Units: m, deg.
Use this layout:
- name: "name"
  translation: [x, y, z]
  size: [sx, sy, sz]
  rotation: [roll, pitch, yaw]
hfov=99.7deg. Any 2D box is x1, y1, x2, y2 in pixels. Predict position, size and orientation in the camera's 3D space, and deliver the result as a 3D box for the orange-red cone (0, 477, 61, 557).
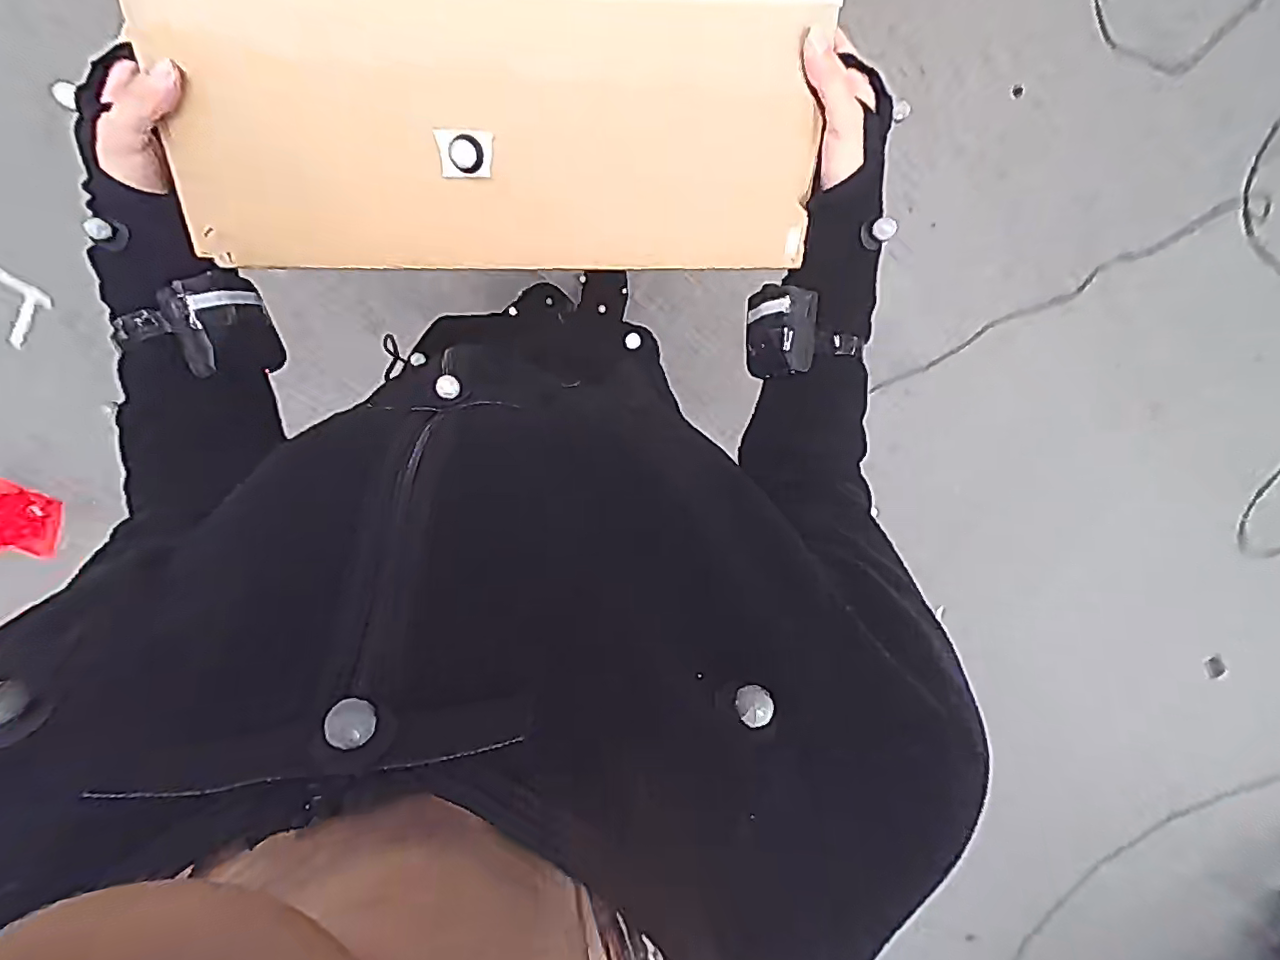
- name: "orange-red cone"
  translation: [-1.619, 0.156, 1.241]
  size: [0.199, 0.360, 0.198]
  rotation: [29, 107, -14]
